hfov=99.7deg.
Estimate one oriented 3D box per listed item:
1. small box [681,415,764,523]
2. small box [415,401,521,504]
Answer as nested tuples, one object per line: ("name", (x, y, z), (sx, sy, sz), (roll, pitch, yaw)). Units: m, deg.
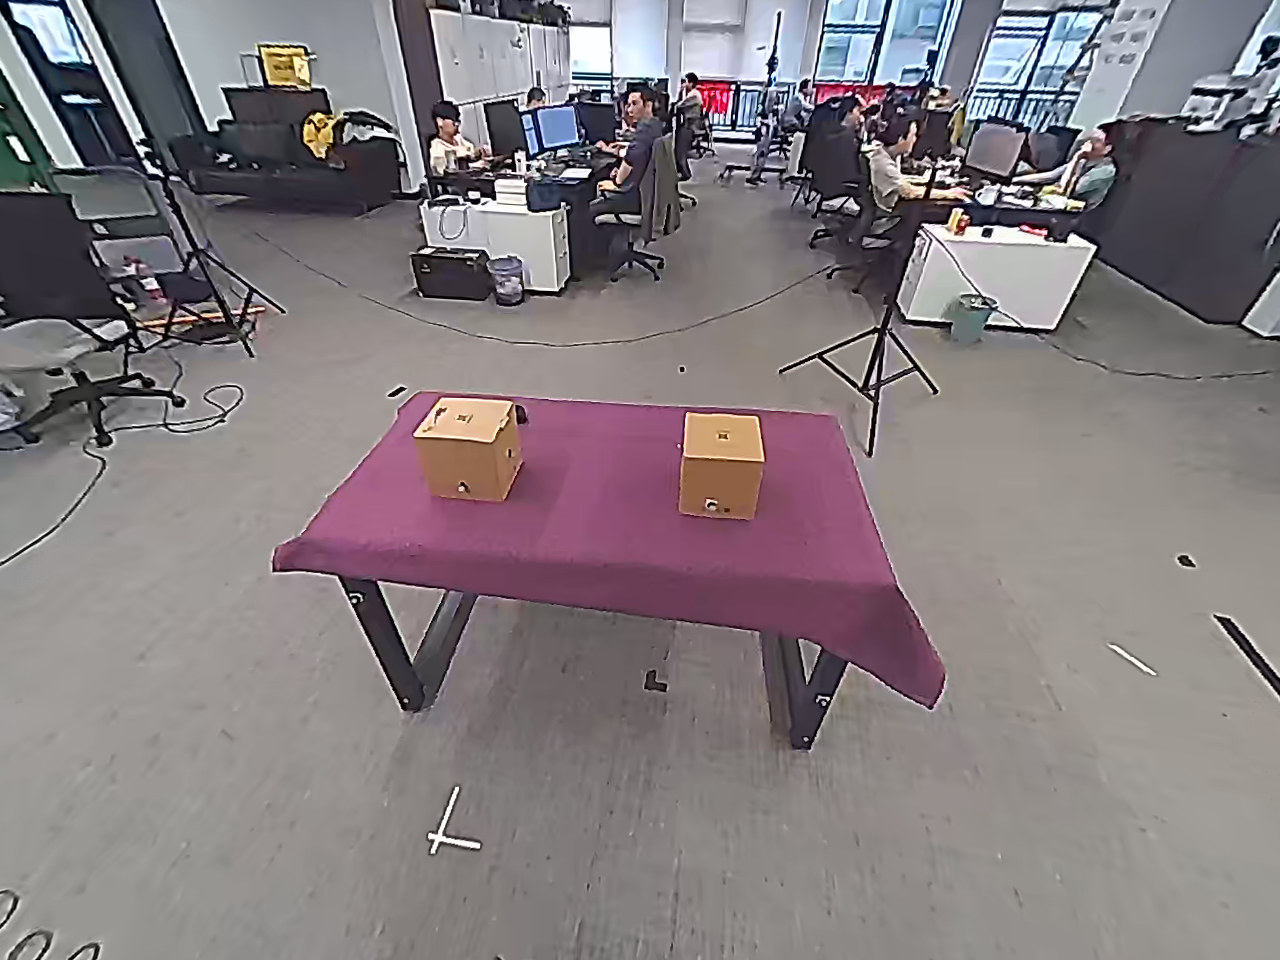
("small box", (0.179, -0.027, 1.212), (0.168, 0.176, 0.179), (2, 39, 4))
("small box", (-0.382, -0.062, 1.239), (0.179, 0.176, 0.168), (5, 38, 4))
